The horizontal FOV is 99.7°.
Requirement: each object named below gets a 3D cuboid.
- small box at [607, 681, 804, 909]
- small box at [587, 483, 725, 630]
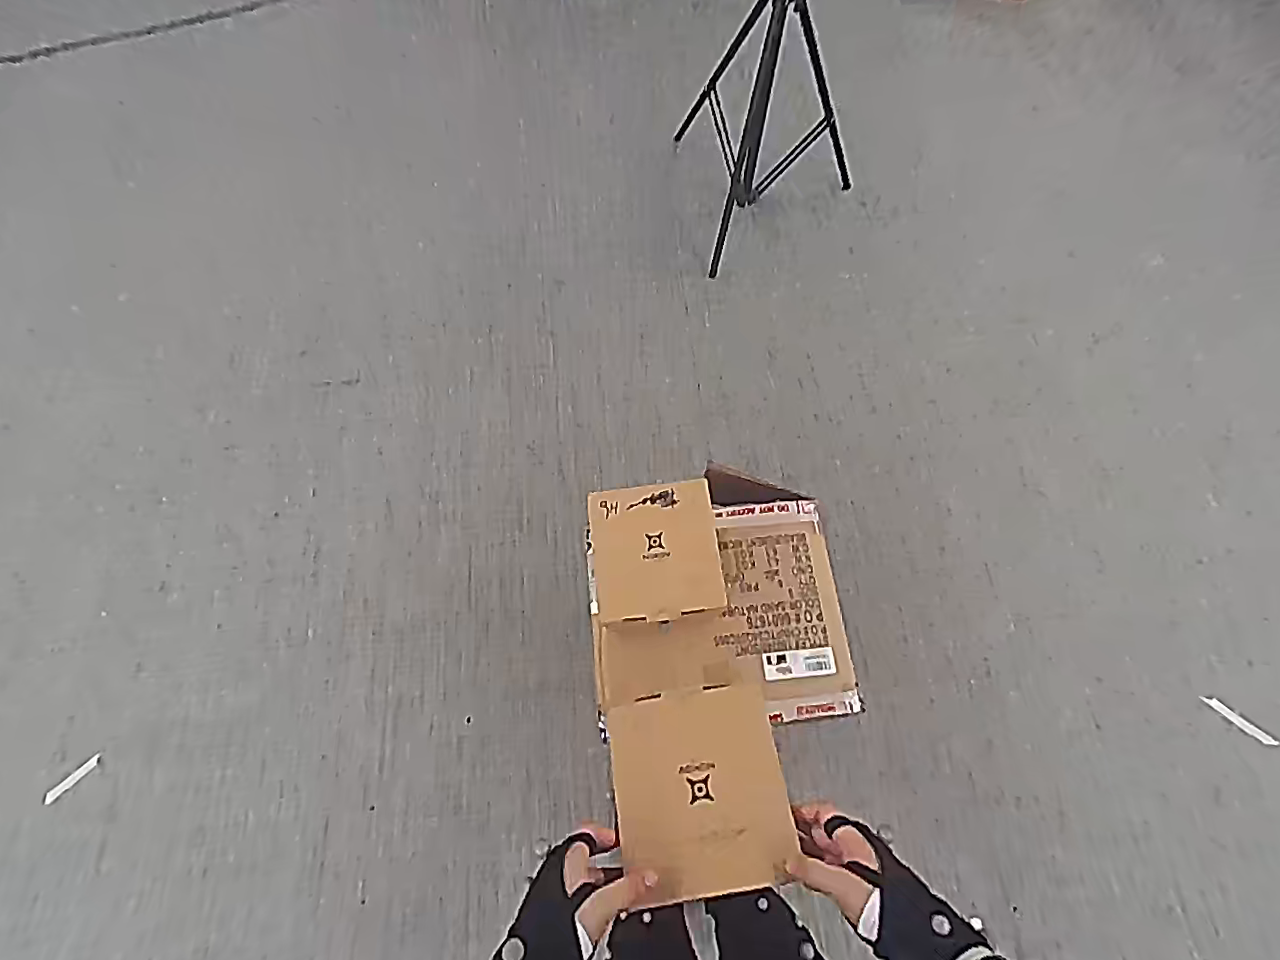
[{"bbox_3d":[0.060,0.338,0.595,0.168,0.176,0.179,-10,61,-1],"label":"small box"},{"bbox_3d":[0.022,0.117,0.777,0.168,0.176,0.179,-7,73,0],"label":"small box"}]
